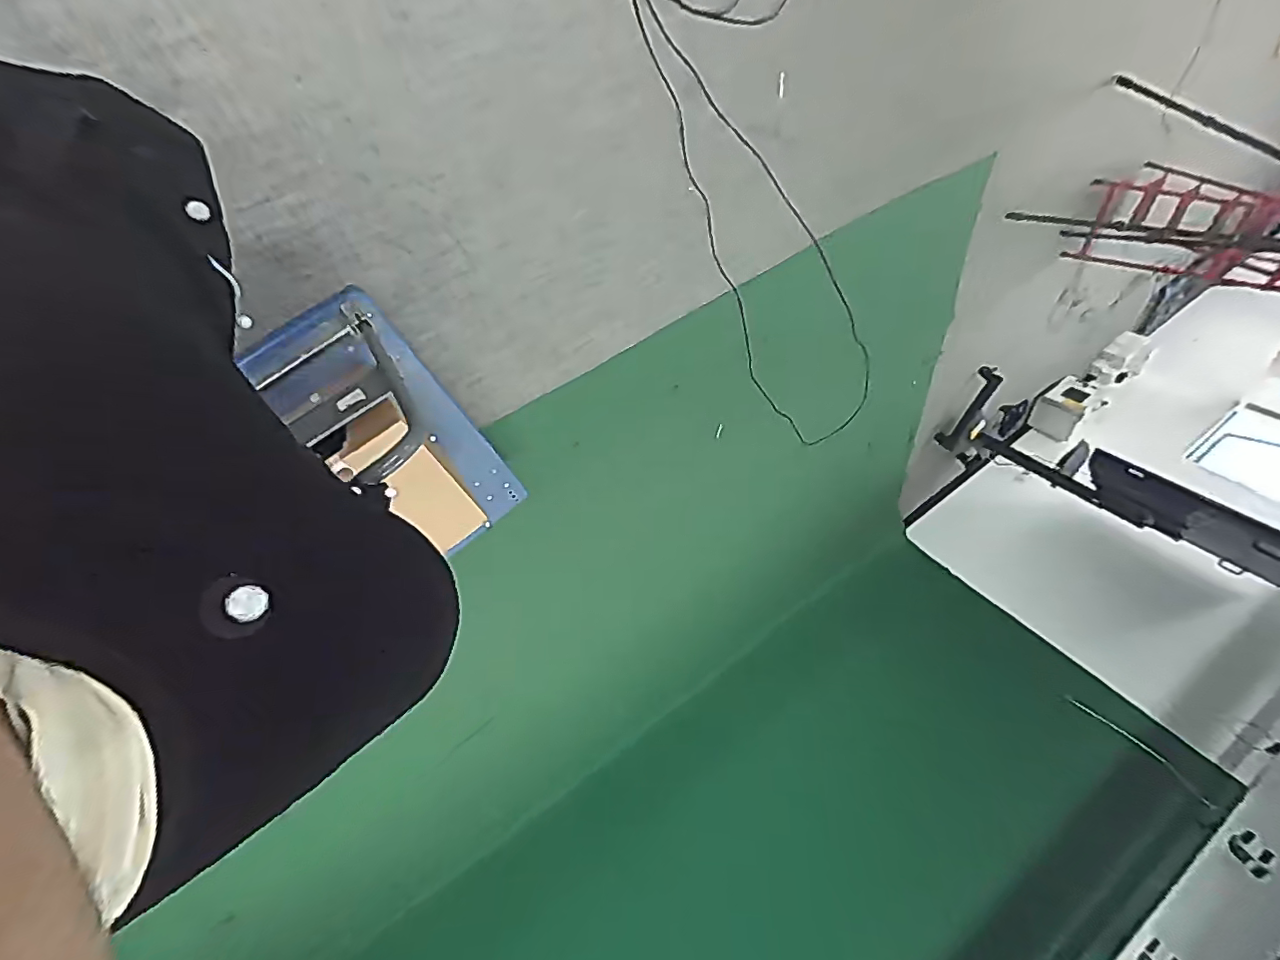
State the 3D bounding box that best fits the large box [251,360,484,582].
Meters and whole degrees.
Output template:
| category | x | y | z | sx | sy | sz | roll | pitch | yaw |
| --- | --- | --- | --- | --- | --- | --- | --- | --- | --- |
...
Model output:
| category | x | y | z | sx | sy | sz | roll | pitch | yaw |
| --- | --- | --- | --- | --- | --- | --- | --- | --- | --- |
| large box | -0.677 | -0.019 | 1.372 | 0.320 | 0.320 | 0.408 | -36 | 141 | -11 |
